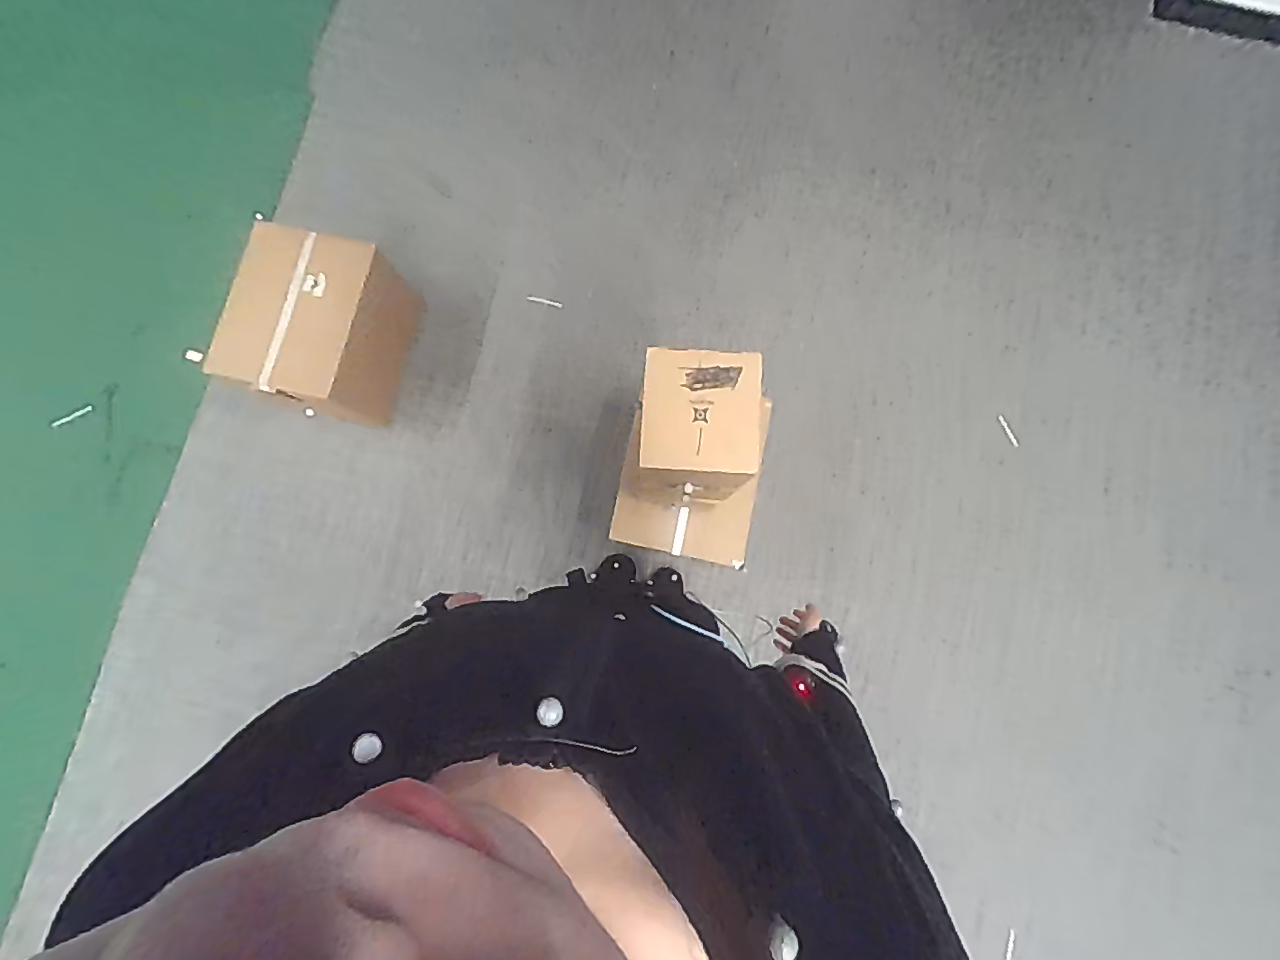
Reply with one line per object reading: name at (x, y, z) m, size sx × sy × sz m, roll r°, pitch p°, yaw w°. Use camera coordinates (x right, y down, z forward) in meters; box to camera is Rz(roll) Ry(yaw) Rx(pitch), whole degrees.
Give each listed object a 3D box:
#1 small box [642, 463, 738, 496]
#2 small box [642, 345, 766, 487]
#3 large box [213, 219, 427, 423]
small box at (0.095, -0.066, 0.996) m, size 0.168 × 0.176 × 0.179 m, roll 5°, pitch 83°, yaw 2°
small box at (0.091, -0.090, 0.832) m, size 0.168 × 0.176 × 0.179 m, roll 4°, pitch 83°, yaw 2°
large box at (-0.823, -0.402, 1.448) m, size 0.320 × 0.320 × 0.408 m, roll 13°, pitch 82°, yaw 2°
